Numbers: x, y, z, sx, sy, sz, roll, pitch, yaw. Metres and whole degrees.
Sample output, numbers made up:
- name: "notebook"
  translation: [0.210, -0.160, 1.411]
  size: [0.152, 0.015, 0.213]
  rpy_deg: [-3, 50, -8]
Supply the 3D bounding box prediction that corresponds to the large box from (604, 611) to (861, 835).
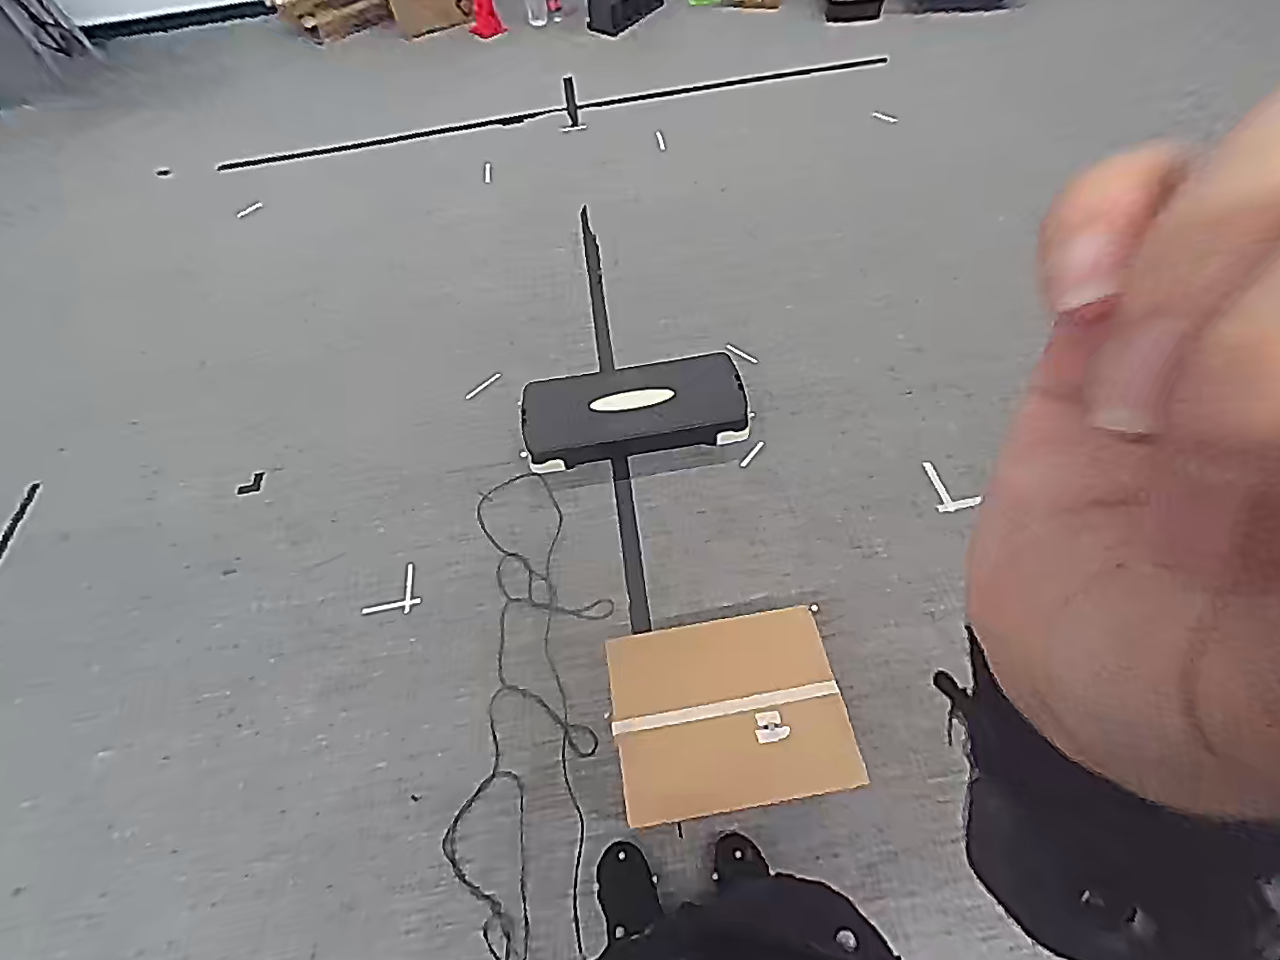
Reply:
- name: "large box"
  translation: [0.157, 0.494, 1.090]
  size: [0.408, 0.320, 0.320]
  rpy_deg: [-10, 59, -2]
